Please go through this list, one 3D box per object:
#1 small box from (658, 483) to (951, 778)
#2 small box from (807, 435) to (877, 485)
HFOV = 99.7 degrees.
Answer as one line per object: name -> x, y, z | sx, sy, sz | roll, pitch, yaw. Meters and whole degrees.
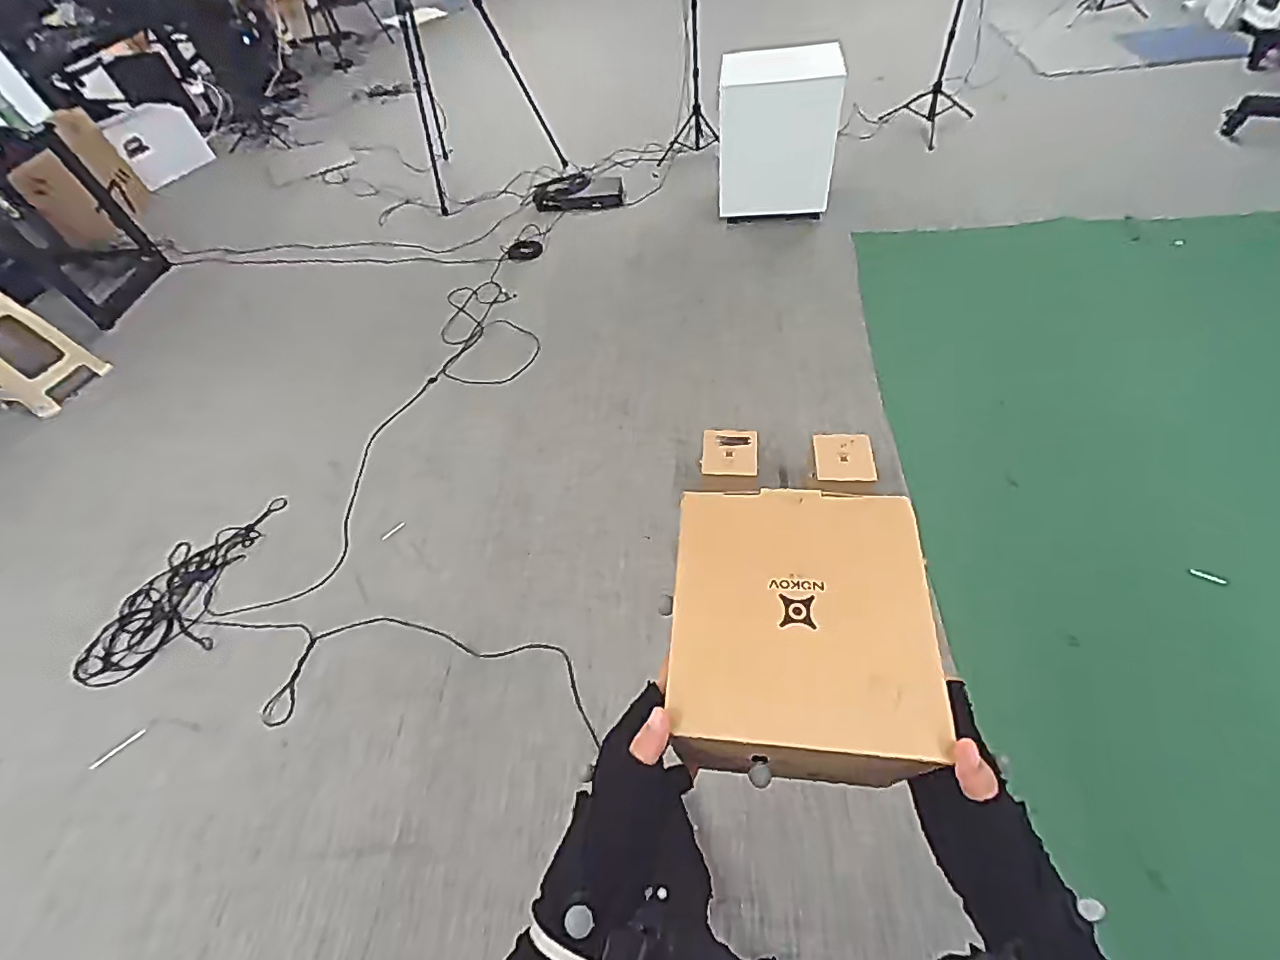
small box -> 0.112, 0.120, 0.419 | 0.168, 0.176, 0.179 | 1, 56, 10
small box -> 0.611, -0.019, 1.653 | 0.168, 0.176, 0.179 | 1, 54, 8
